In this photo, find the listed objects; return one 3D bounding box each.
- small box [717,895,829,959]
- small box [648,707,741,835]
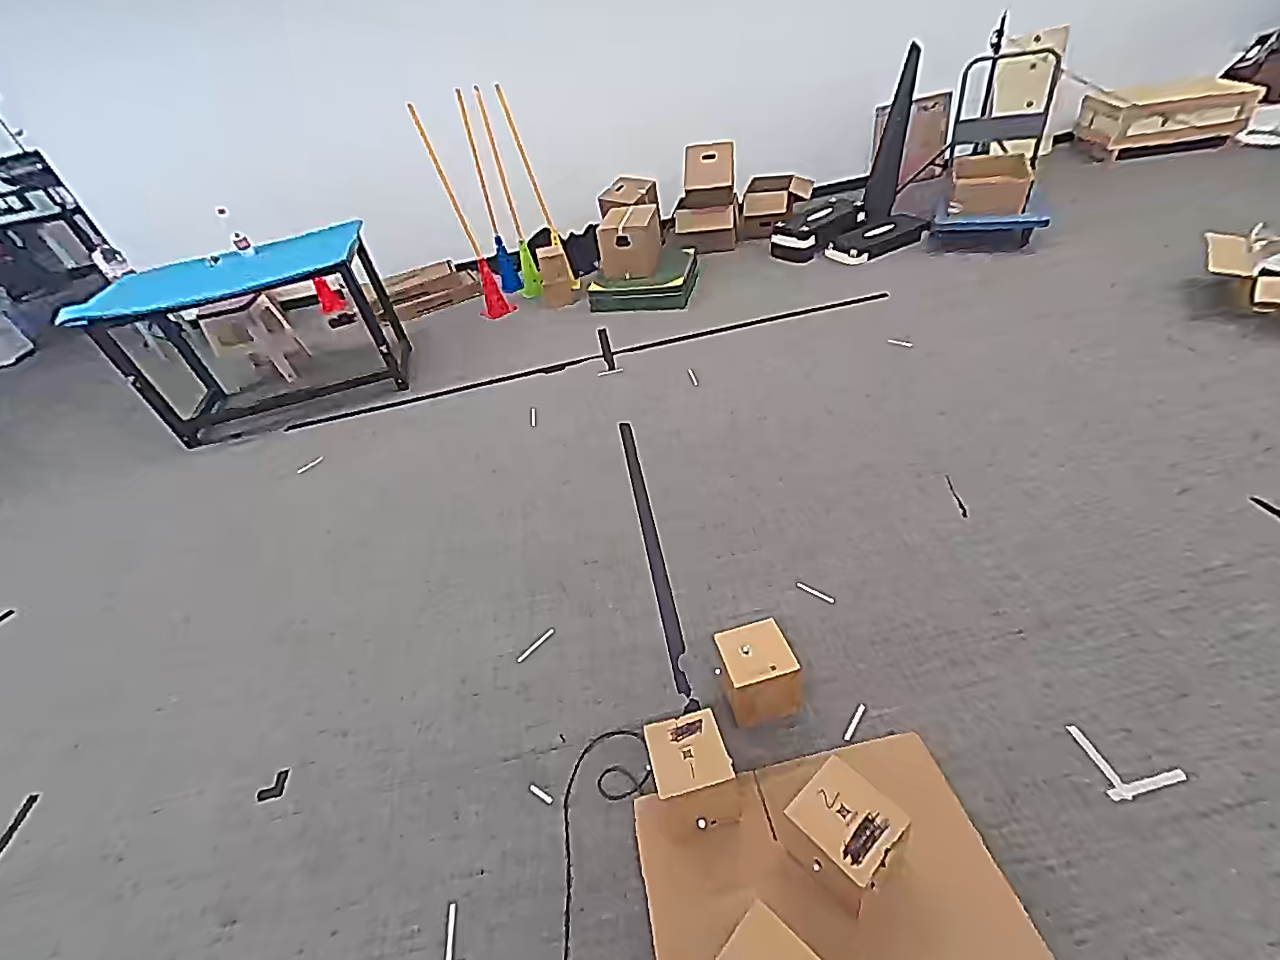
[{"bbox_3d":[0.223,0.869,0.913,0.179,0.176,0.168,-35,42,-30],"label":"small box"},{"bbox_3d":[0.123,0.658,1.226,0.168,0.176,0.179,-14,32,-5],"label":"small box"}]
